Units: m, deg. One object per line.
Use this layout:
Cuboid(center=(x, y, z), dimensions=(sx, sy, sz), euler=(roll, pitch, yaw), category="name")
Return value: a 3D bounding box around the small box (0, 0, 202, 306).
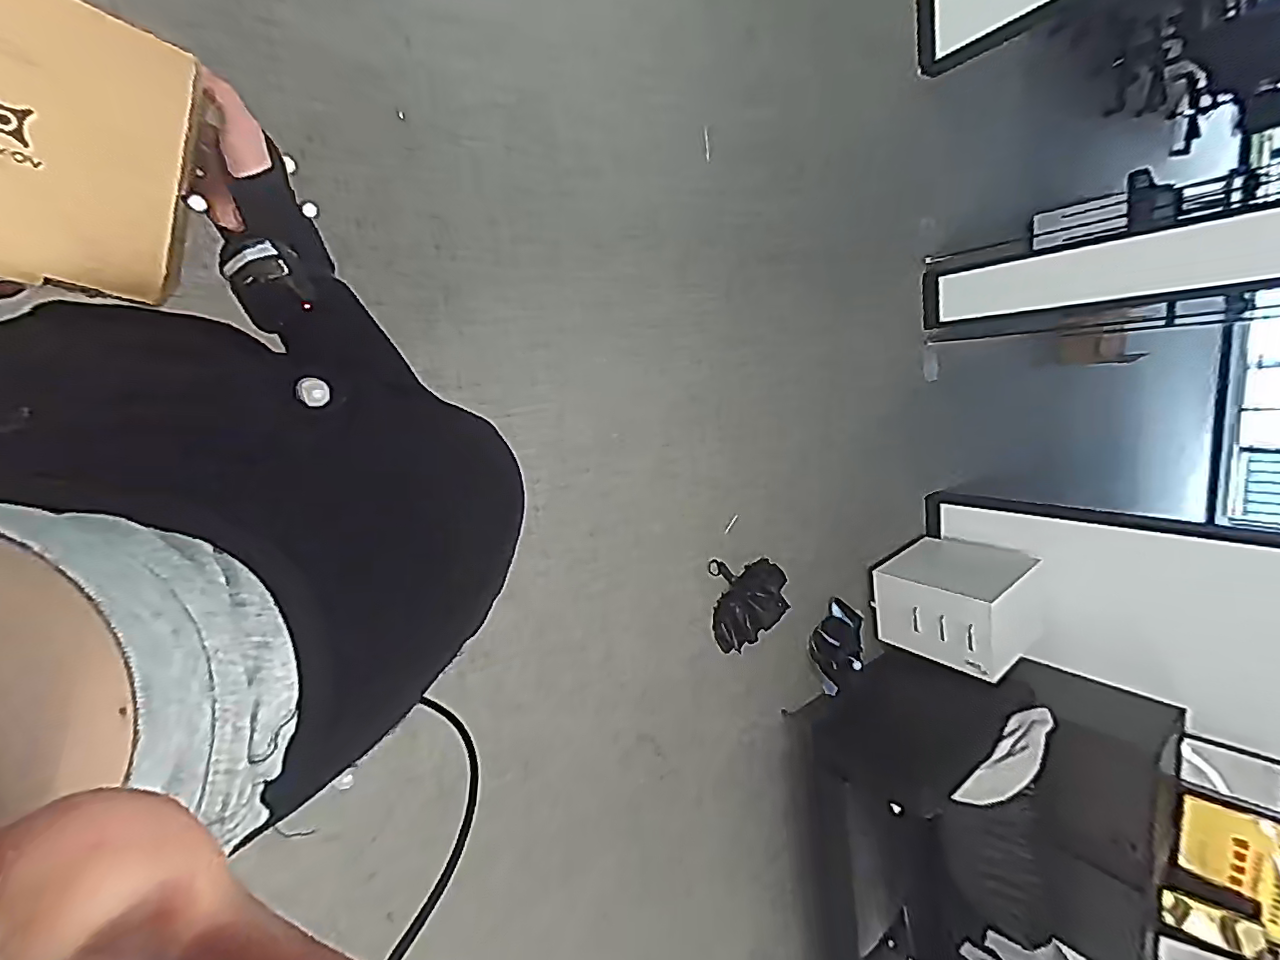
Cuboid(center=(-0.435, -0.248, 0.394), dimensions=(0.168, 0.176, 0.179), euler=(8, 106, -41), category="small box")
